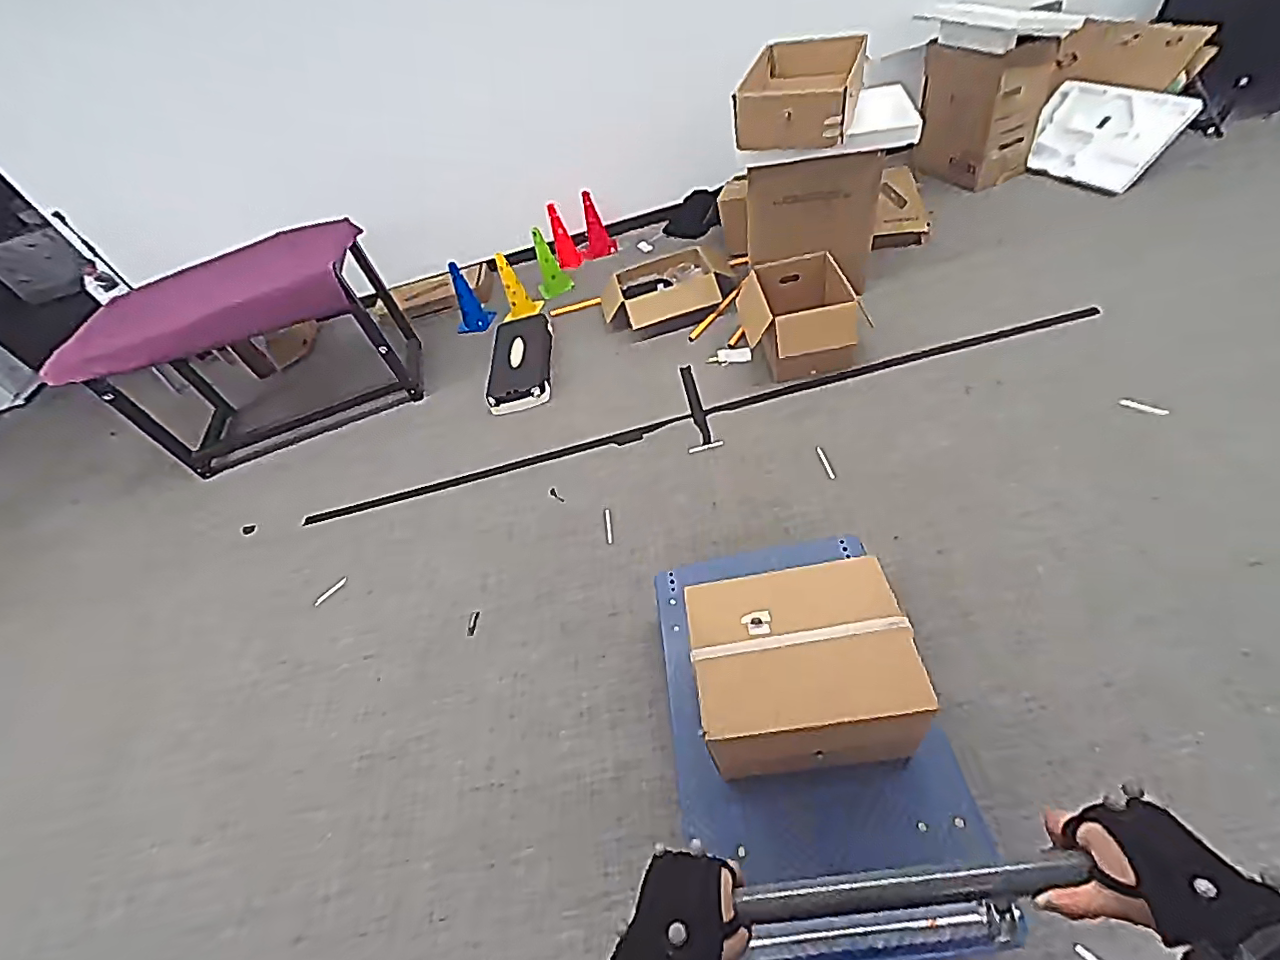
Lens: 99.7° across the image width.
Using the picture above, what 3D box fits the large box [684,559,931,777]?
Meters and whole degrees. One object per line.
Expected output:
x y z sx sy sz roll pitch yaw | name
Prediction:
0.335 0.414 1.162 0.408 0.320 0.320 -12 47 7 | large box
